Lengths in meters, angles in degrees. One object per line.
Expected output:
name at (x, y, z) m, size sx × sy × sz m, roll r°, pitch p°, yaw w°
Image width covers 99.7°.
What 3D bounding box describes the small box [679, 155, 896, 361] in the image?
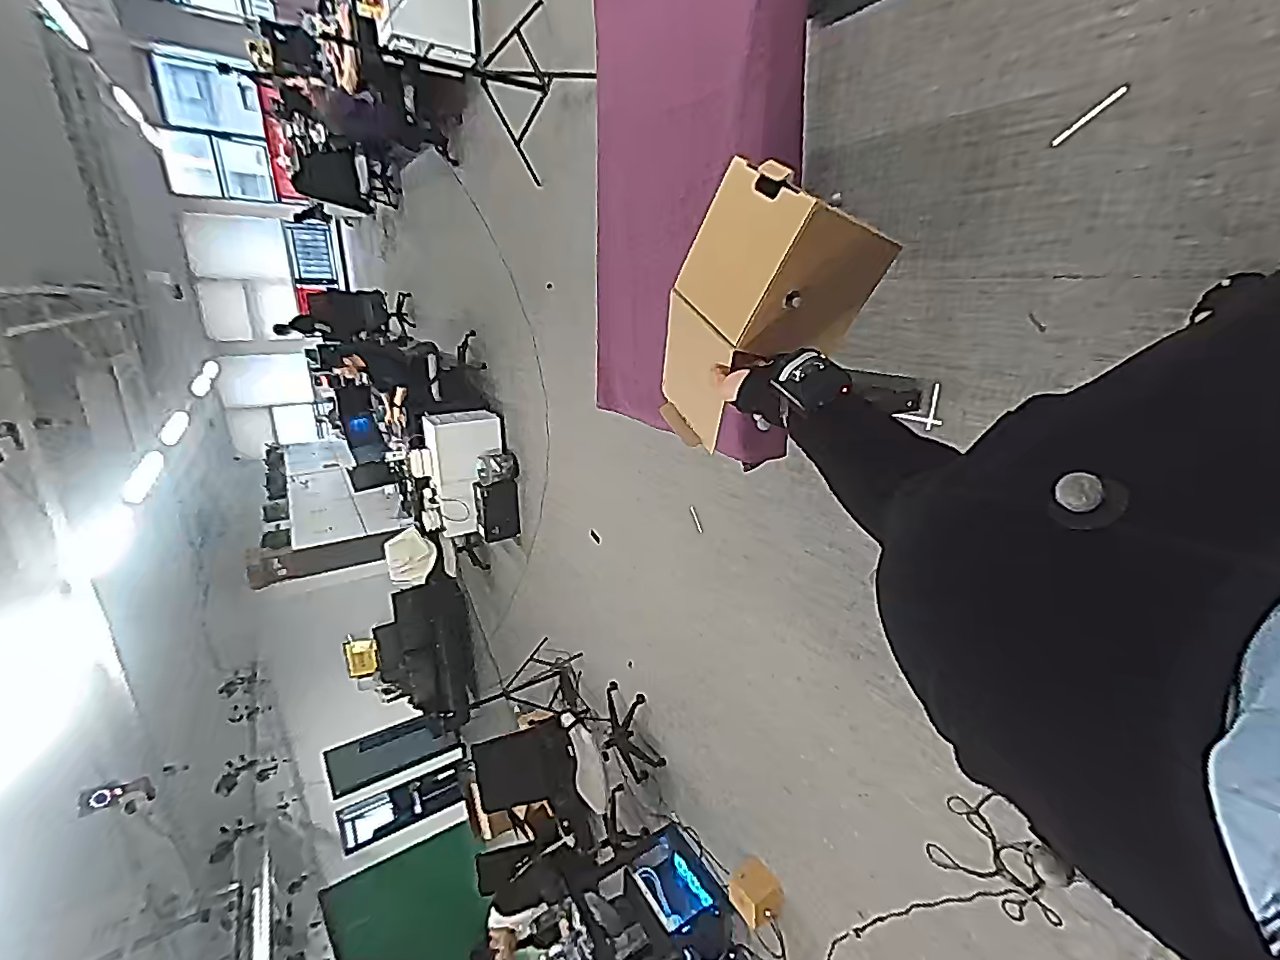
small box at (0.185, -0.274, 0.696) m, size 0.179 × 0.176 × 0.168 m, roll -61°, pitch 42°, yaw 32°
